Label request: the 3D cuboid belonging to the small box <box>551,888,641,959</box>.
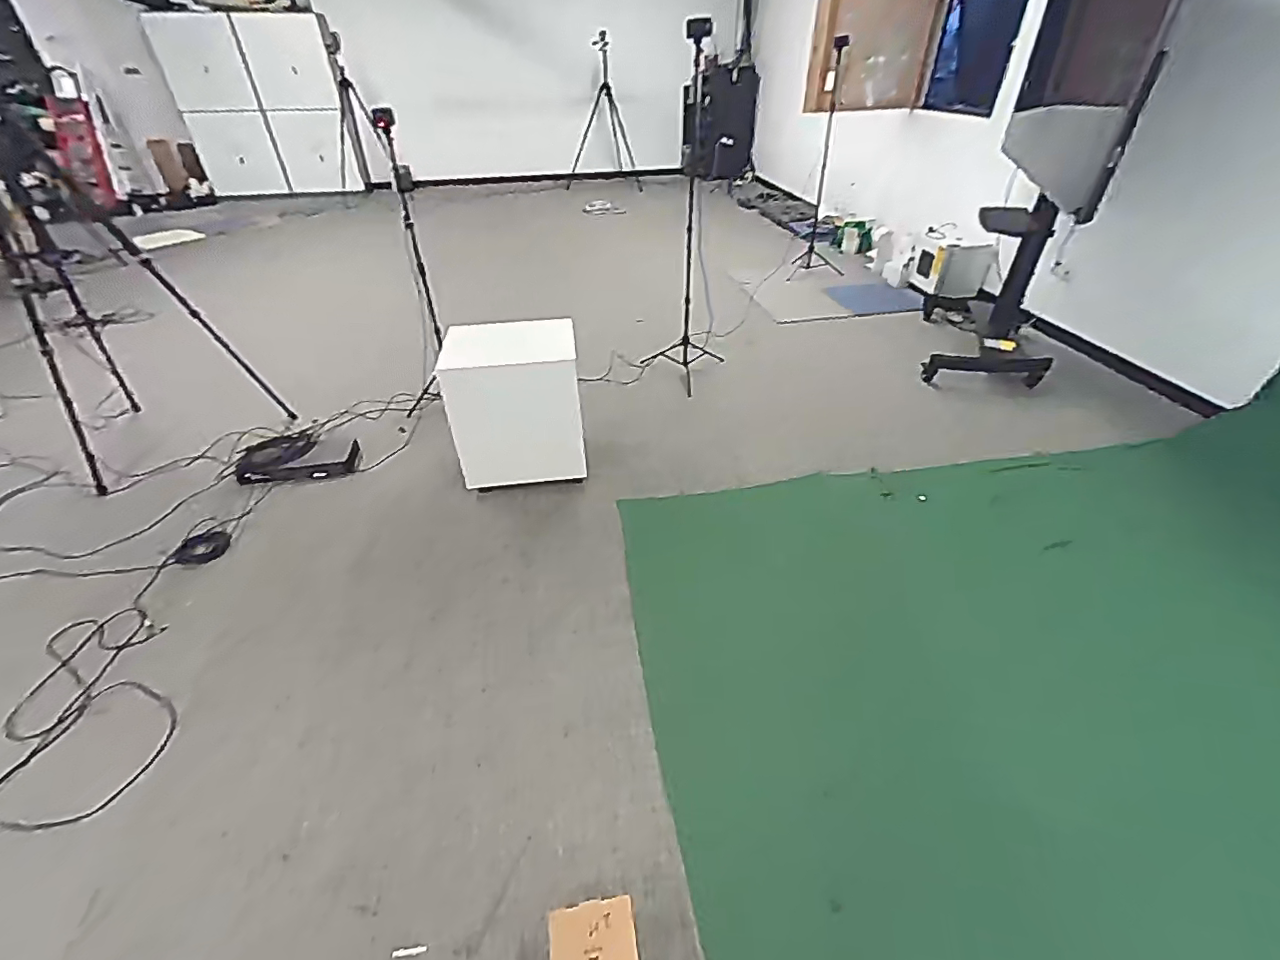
[{"bbox_3d":[-0.083,0.949,1.070,0.168,0.176,0.179,-6,40,-8],"label":"small box"}]
